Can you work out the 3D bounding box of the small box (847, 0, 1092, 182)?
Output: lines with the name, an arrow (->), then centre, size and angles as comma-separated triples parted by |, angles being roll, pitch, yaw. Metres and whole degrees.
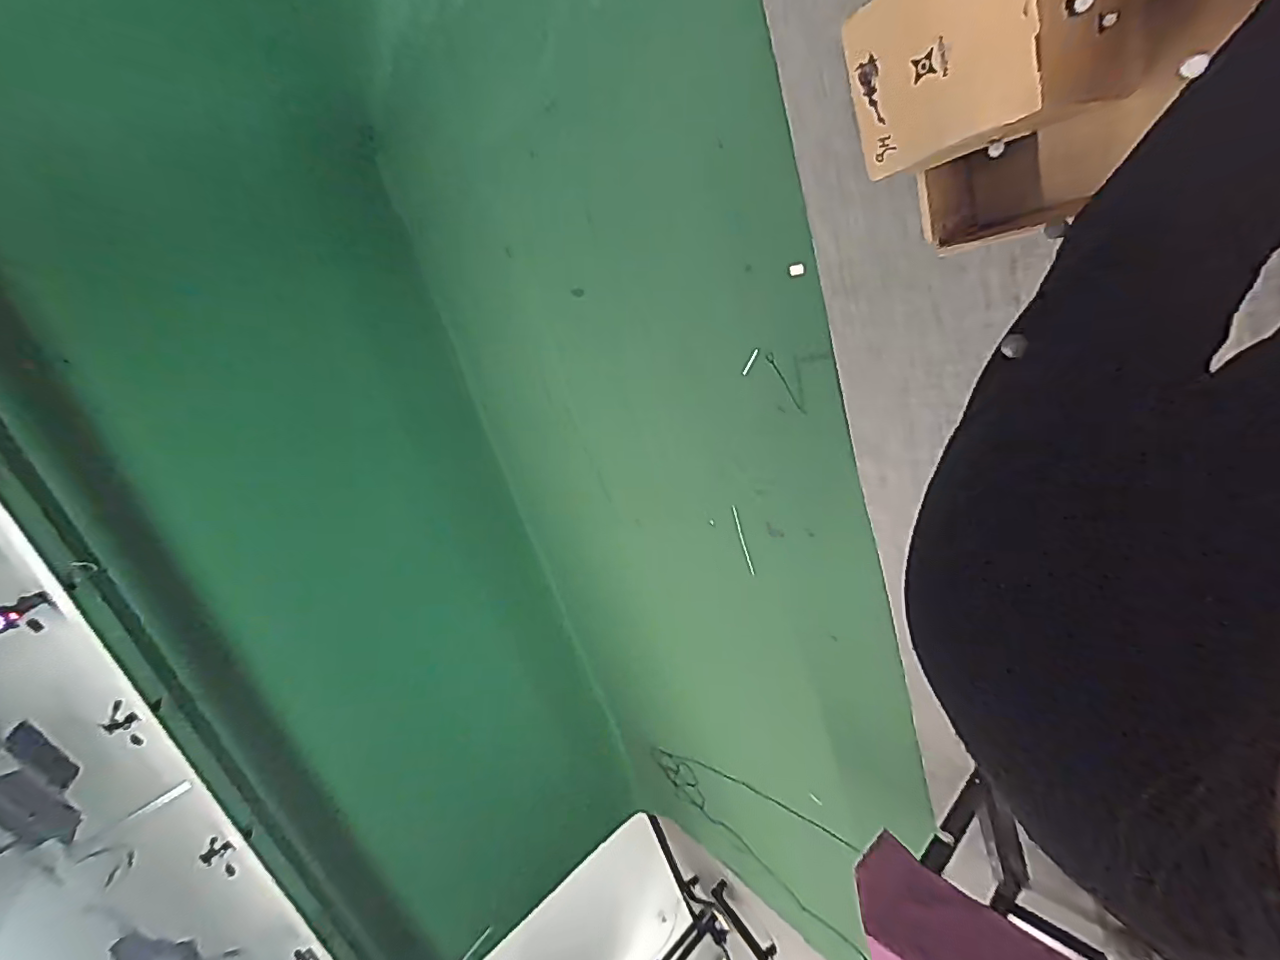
small box -> 0.360, -0.451, 0.585 | 0.179, 0.176, 0.168 | 5, 118, 54
